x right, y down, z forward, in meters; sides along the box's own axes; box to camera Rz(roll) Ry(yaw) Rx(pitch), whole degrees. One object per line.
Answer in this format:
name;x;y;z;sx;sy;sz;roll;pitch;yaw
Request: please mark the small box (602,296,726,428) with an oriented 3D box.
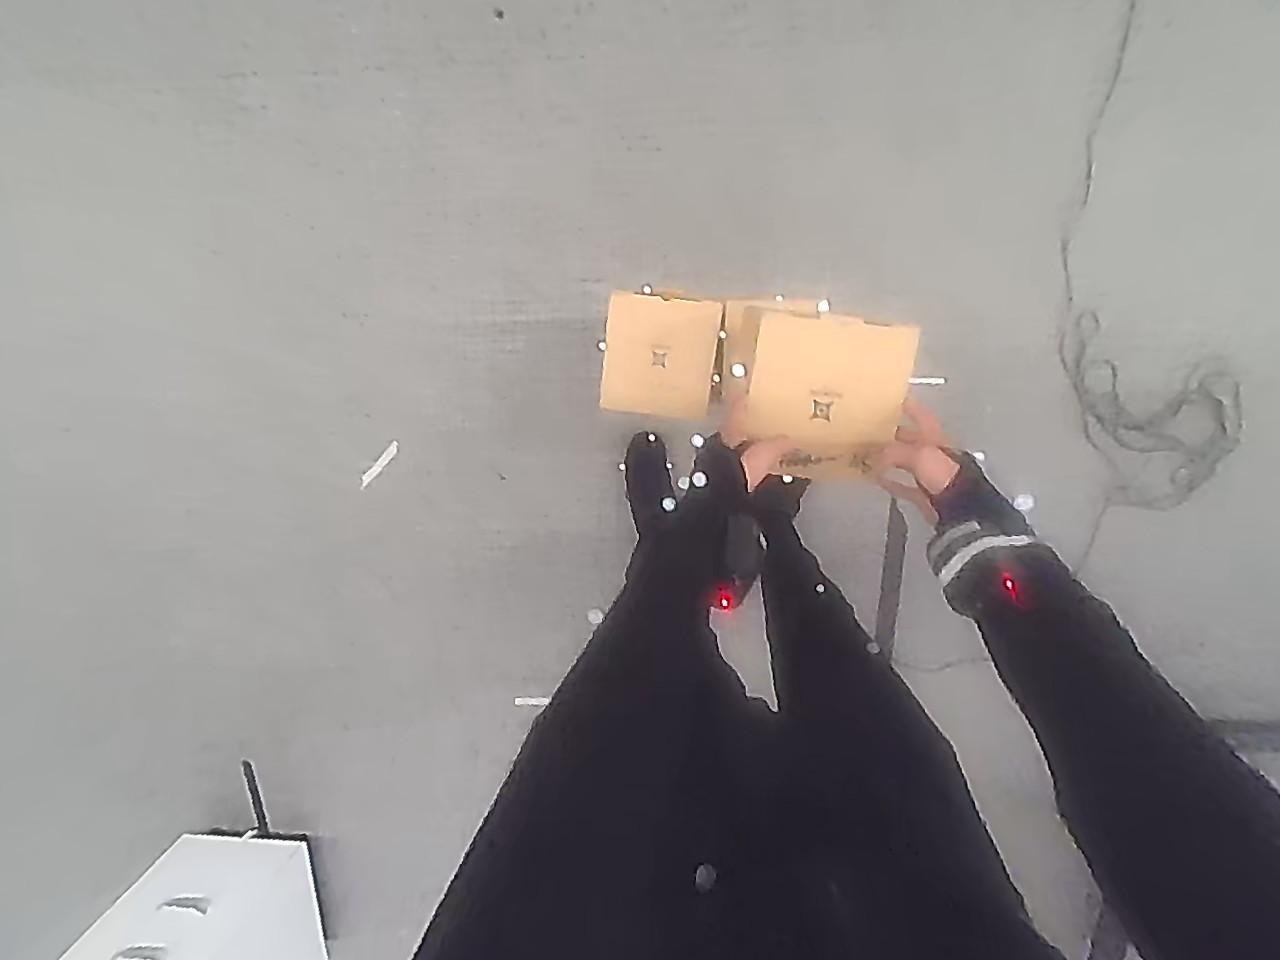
small box;0.038;-0.190;0.878;0.168;0.176;0.179;8;104;3
